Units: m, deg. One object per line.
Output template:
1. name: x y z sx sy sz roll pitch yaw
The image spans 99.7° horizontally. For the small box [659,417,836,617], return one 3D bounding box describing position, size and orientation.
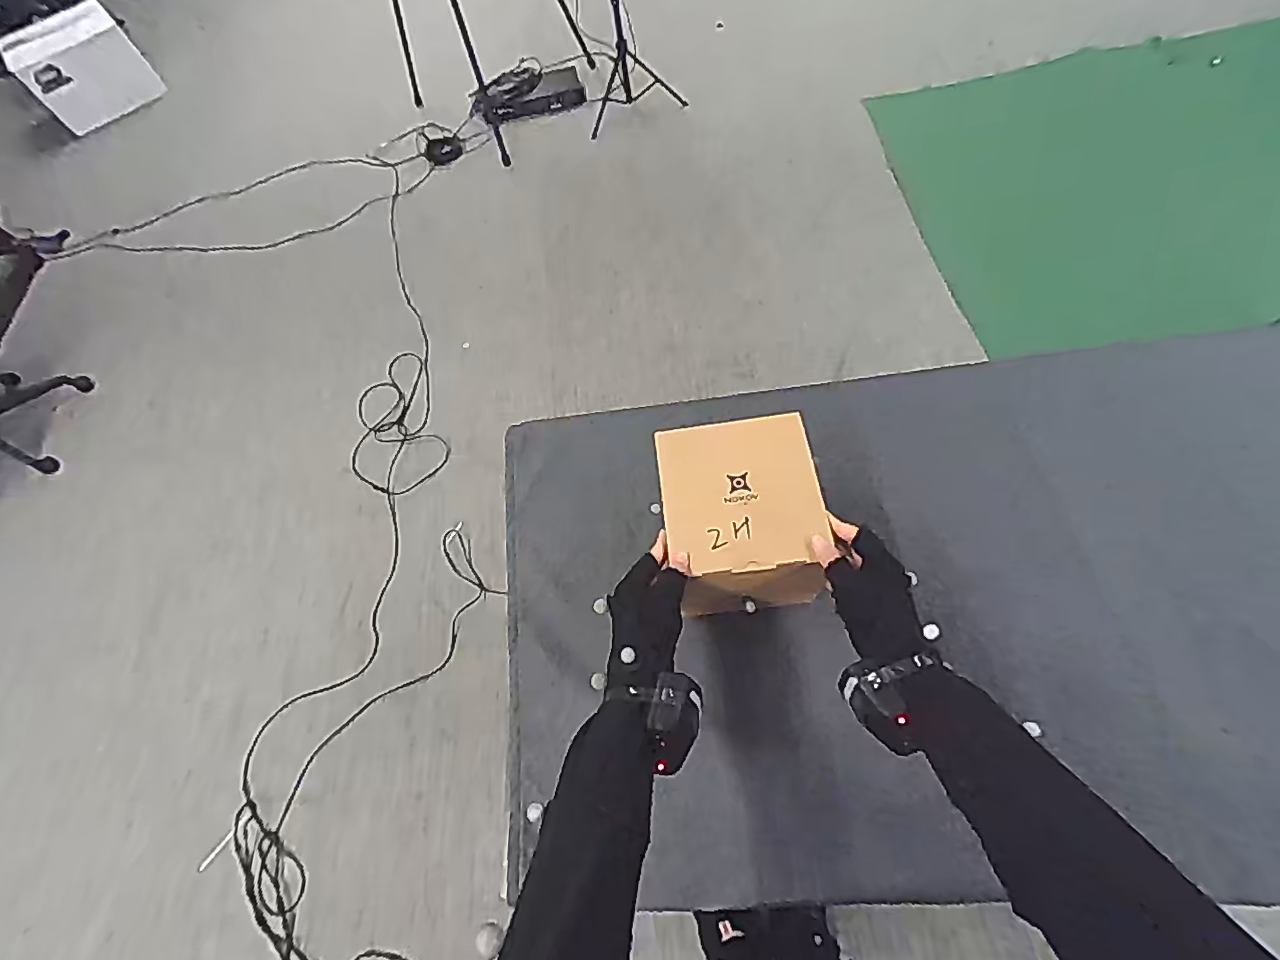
1. small box: 0.116 0.050 0.642 0.168 0.176 0.179 -8 63 5
